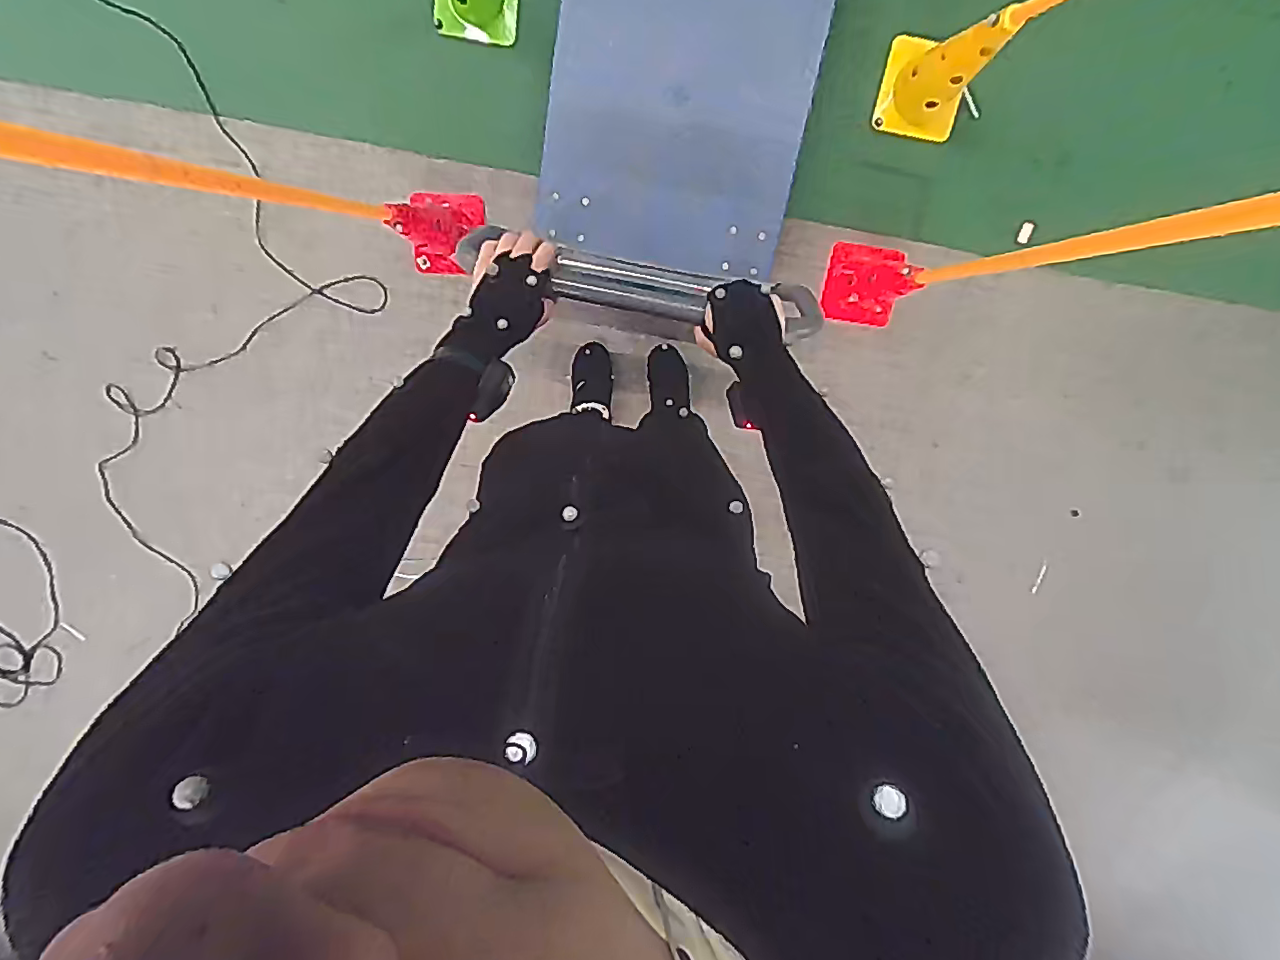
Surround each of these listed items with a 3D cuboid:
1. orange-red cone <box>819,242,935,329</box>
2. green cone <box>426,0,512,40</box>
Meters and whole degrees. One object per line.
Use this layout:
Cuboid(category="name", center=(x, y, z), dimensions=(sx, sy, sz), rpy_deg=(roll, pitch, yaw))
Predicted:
Cuboid(category="orange-red cone", center=(0.588, -0.468, 1.274), dimensions=(0.198, 0.360, 0.199), rpy_deg=(10, 106, -2))
Cuboid(category="green cone", center=(-0.401, -1.106, 1.096), dimensions=(0.200, 0.368, 0.202), rpy_deg=(10, 107, -1))
